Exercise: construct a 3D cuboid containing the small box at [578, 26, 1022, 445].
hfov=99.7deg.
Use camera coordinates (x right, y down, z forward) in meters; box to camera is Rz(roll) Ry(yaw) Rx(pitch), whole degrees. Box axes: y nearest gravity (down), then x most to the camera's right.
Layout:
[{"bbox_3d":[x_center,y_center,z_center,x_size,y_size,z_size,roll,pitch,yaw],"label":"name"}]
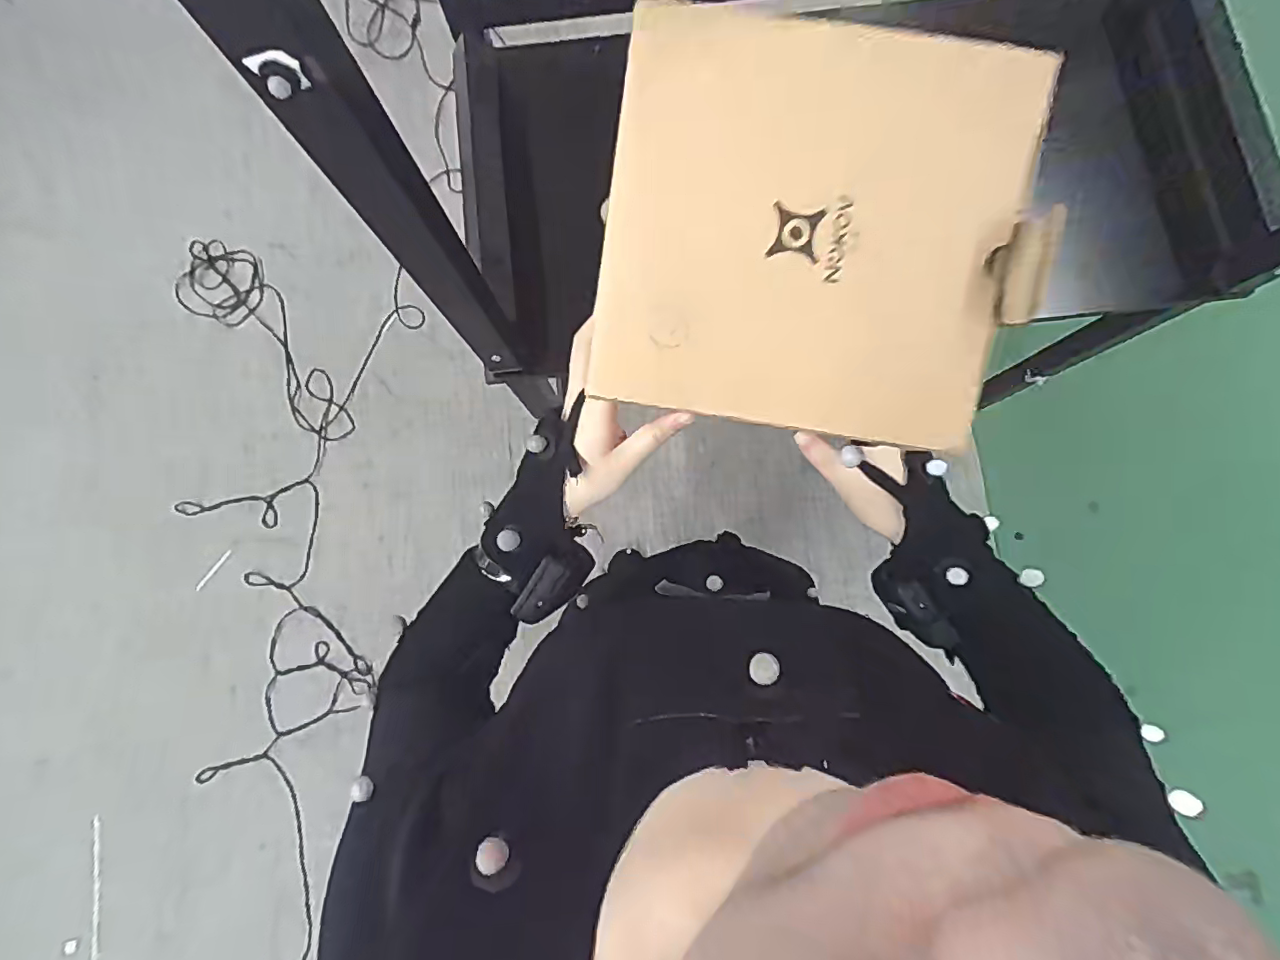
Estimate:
[{"bbox_3d":[0.071,-0.117,0.323,0.179,0.176,0.168,8,98,2],"label":"small box"}]
